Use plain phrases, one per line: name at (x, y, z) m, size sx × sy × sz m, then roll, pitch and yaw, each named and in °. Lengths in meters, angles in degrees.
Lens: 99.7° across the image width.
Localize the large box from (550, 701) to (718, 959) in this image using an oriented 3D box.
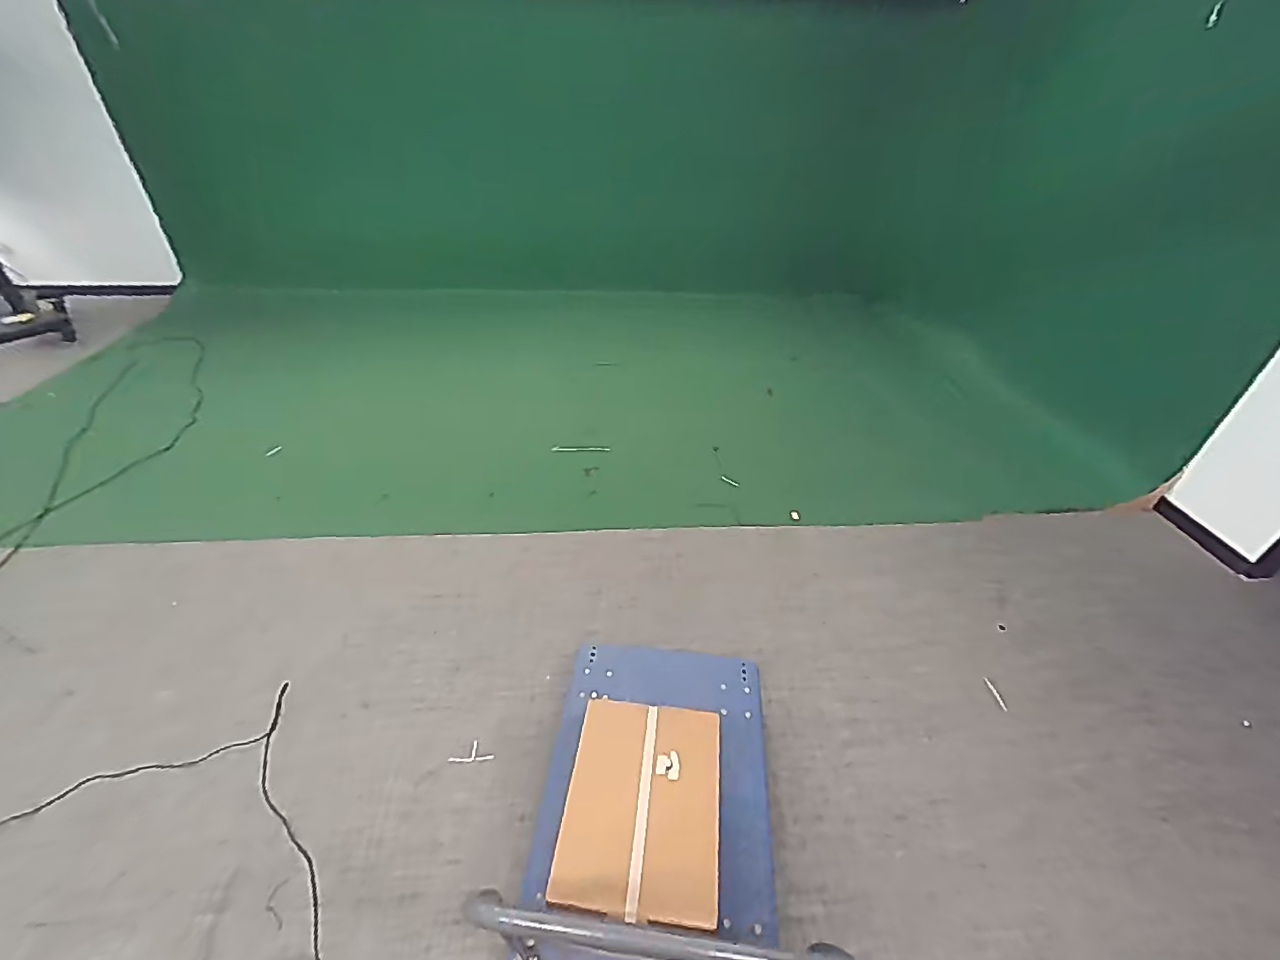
large box at (0.004, 0.780, 1.215) m, size 0.320 × 0.320 × 0.408 m, roll 6°, pitch 36°, yaw 5°
